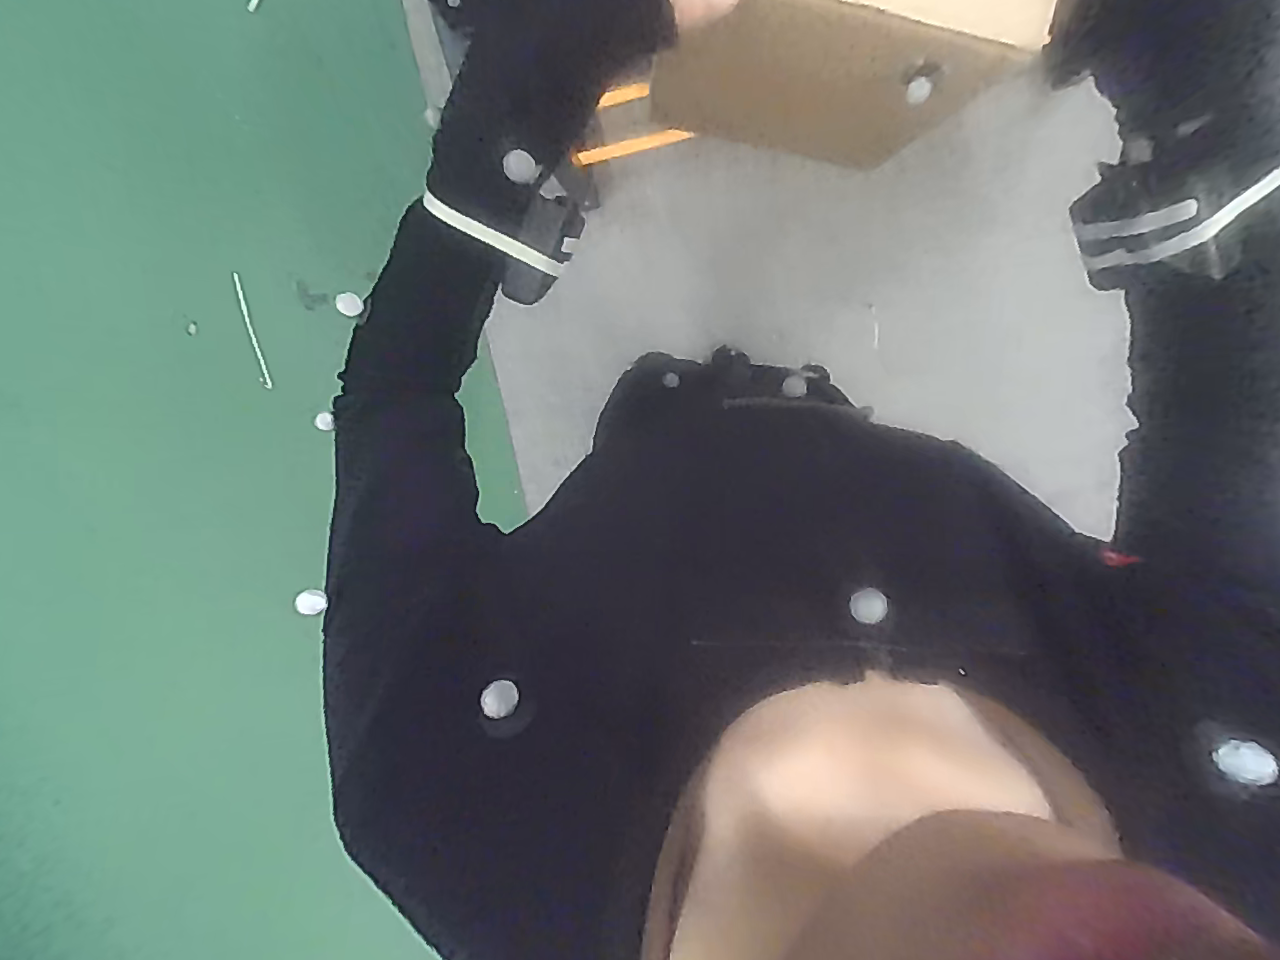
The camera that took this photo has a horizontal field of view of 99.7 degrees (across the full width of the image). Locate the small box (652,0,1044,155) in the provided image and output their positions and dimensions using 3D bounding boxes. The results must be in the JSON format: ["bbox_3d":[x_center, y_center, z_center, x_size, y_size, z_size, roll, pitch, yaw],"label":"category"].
[{"bbox_3d":[0.107,-0.314,0.308,0.179,0.176,0.168,8,102,-6],"label":"small box"}]
